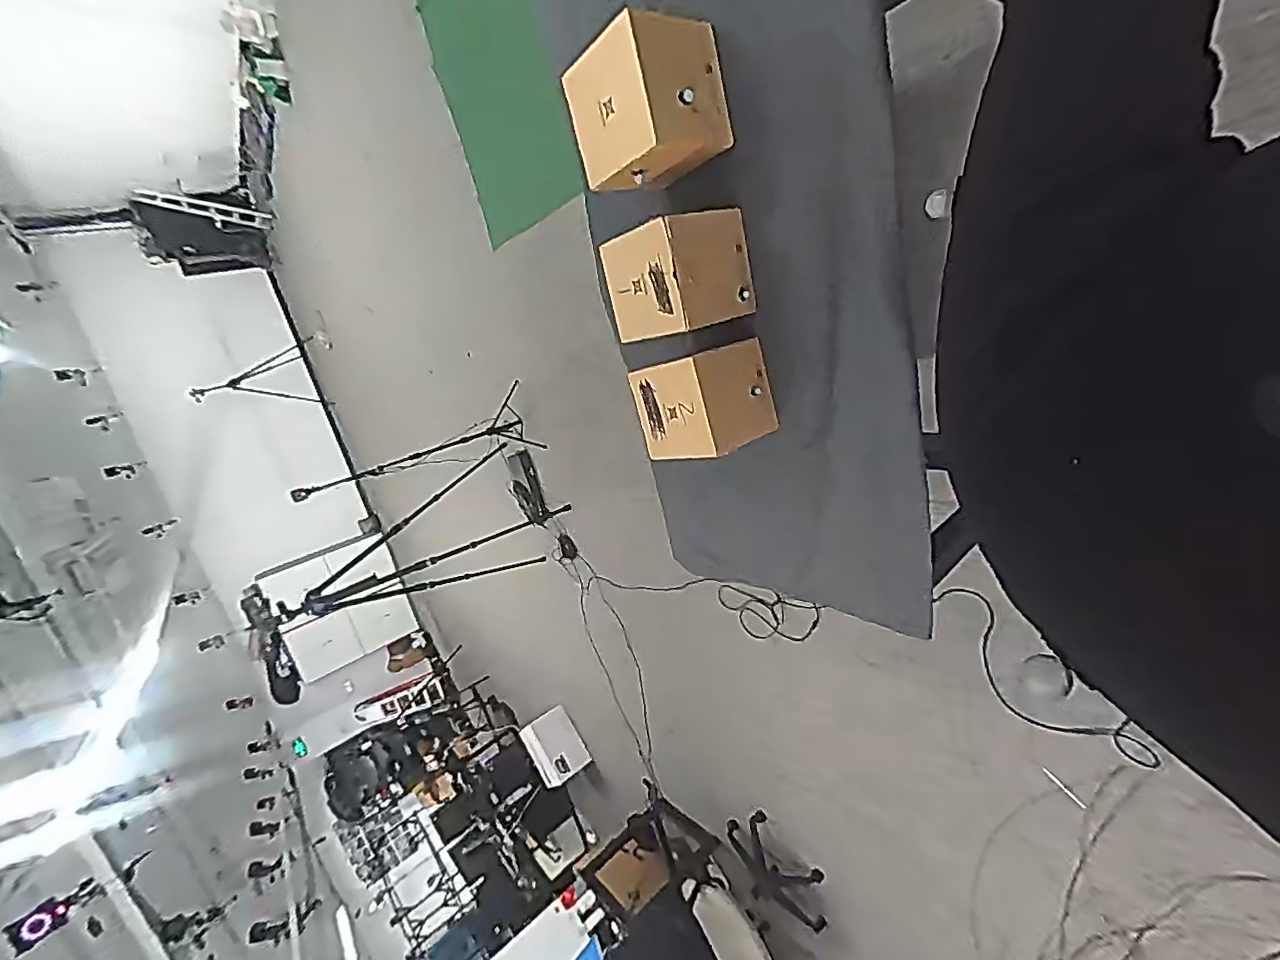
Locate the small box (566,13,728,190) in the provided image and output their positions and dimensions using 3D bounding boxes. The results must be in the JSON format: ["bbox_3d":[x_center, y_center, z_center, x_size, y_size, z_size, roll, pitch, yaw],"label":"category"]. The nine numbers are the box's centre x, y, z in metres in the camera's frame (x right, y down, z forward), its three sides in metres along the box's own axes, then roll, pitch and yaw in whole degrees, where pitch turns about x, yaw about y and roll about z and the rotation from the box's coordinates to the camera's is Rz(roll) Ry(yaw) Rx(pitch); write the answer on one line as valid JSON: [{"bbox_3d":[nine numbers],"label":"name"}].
[{"bbox_3d":[0.018,-0.571,0.835,0.179,0.176,0.168,6,115,53],"label":"small box"}]
